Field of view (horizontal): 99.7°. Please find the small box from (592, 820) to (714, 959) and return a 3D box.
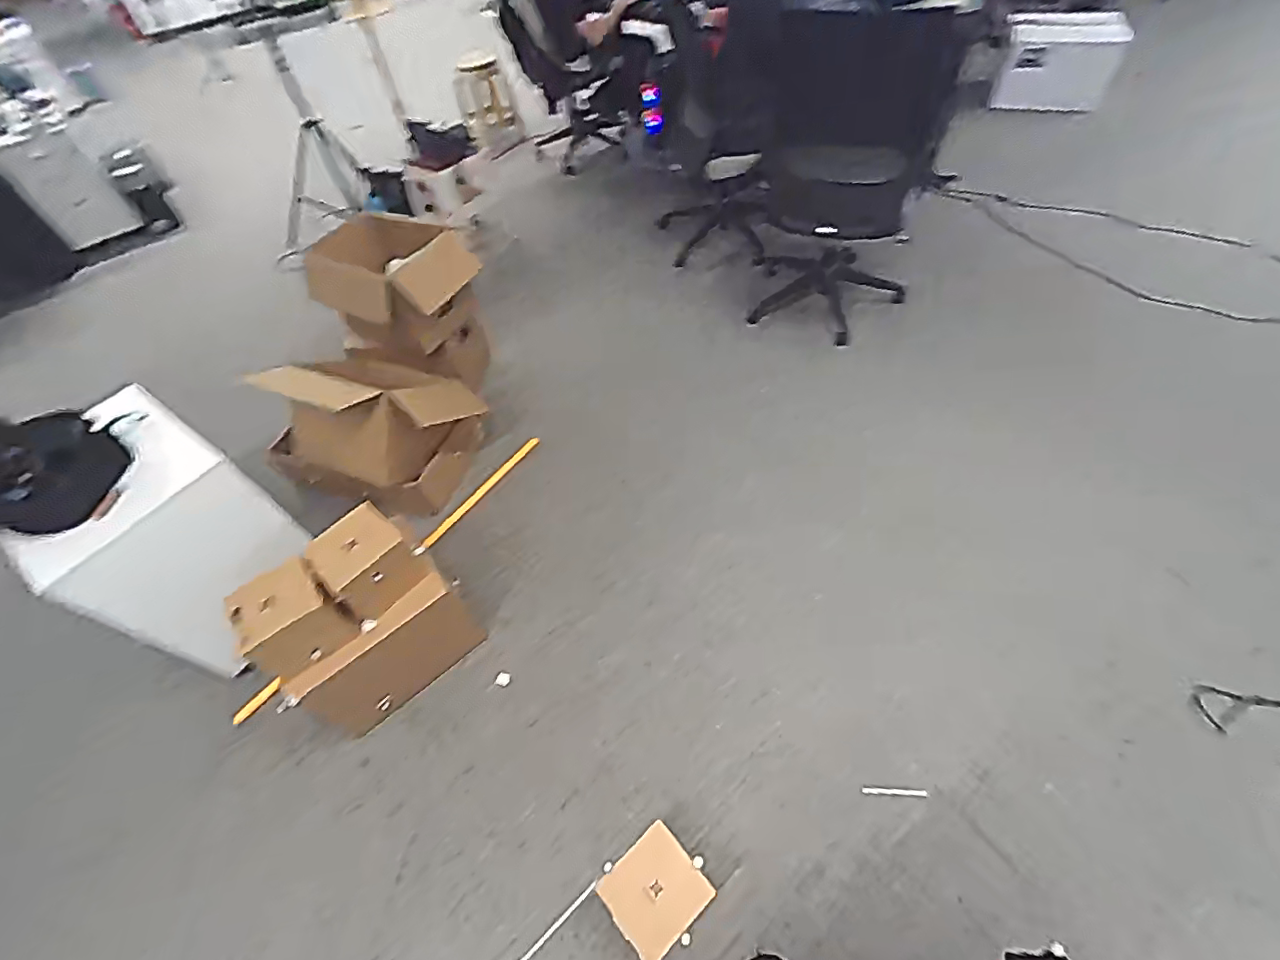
[{"bbox_3d":[0.029,0.829,1.091,0.179,0.176,0.168,-38,58,-20],"label":"small box"}]
